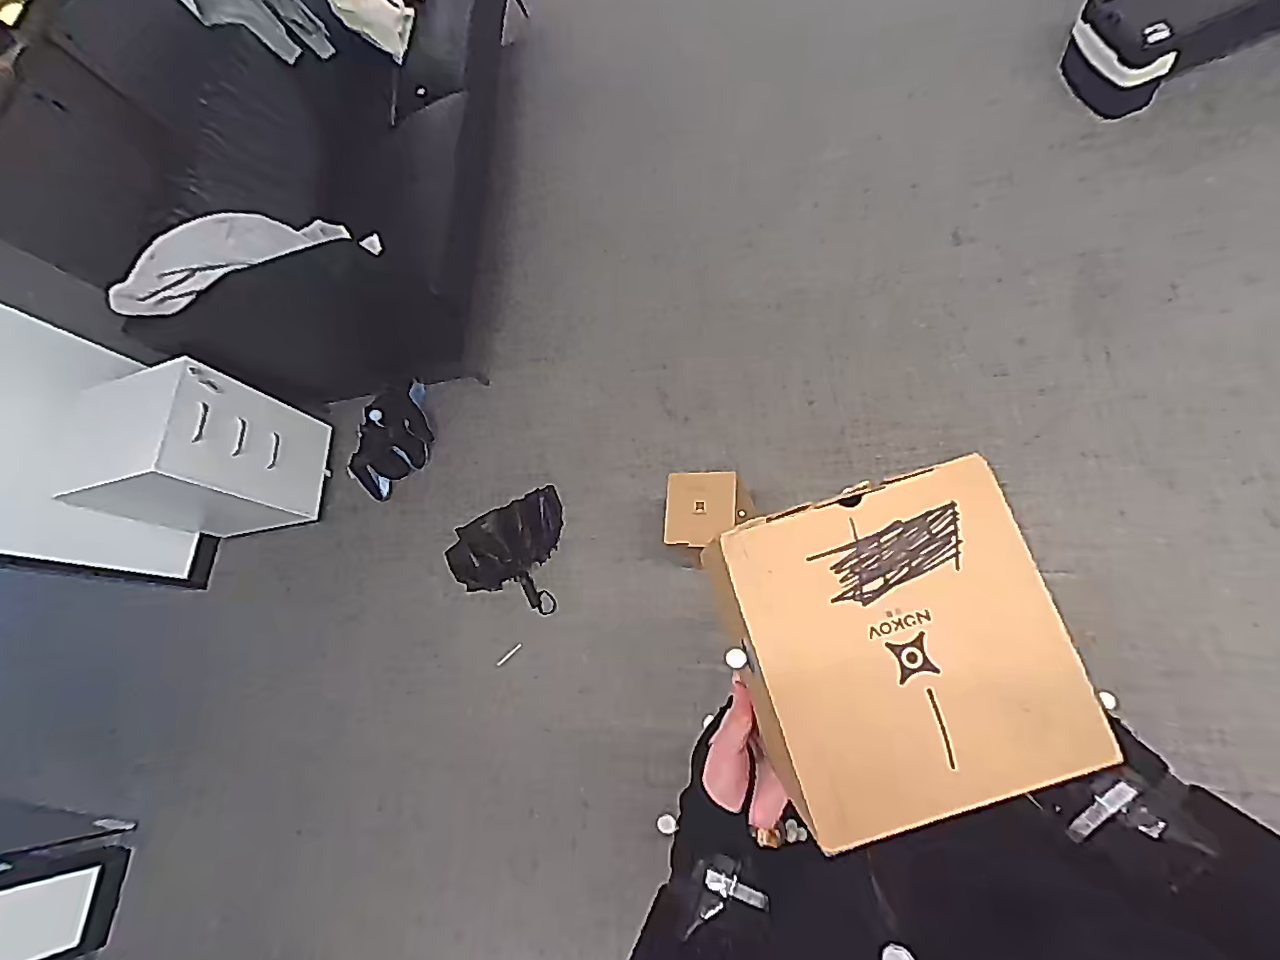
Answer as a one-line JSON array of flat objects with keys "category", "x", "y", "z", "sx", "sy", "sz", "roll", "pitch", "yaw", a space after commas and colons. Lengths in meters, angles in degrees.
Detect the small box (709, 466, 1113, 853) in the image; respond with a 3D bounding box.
[{"category": "small box", "x": 0.153, "y": 0.110, "z": 0.380, "sx": 0.168, "sy": 0.176, "sz": 0.179, "roll": -17, "pitch": 78, "yaw": 0}]
